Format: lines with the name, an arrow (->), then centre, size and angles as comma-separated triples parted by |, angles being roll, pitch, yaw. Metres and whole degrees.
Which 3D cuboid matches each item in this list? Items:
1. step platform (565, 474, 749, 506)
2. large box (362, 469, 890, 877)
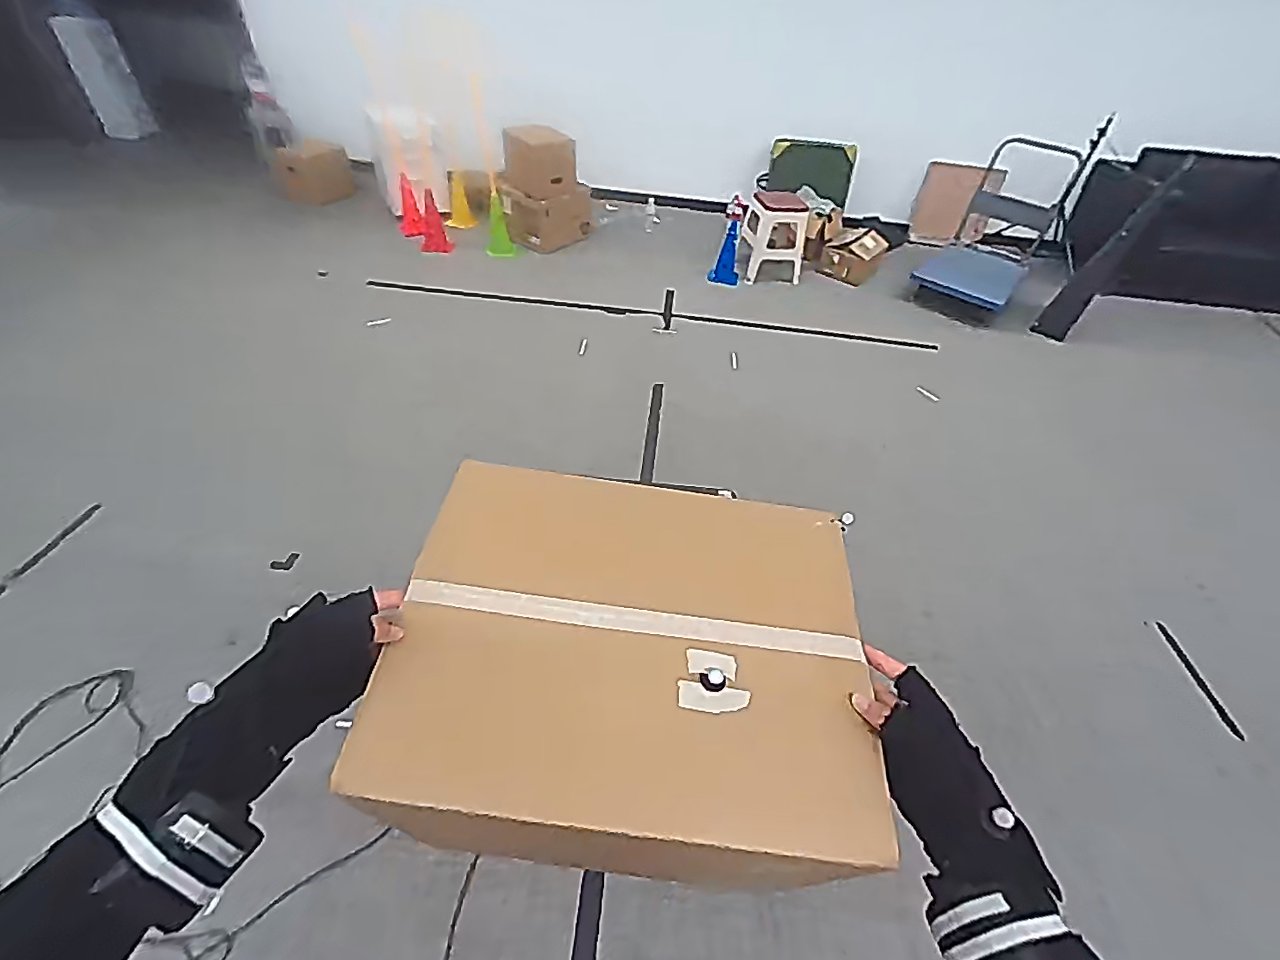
step platform -> 0.043, 0.161, 1.871 | 0.684, 0.204, 0.286 | 6, 44, -2
large box -> -0.012, 0.224, 0.604 | 0.408, 0.320, 0.320 | 9, 51, -1
